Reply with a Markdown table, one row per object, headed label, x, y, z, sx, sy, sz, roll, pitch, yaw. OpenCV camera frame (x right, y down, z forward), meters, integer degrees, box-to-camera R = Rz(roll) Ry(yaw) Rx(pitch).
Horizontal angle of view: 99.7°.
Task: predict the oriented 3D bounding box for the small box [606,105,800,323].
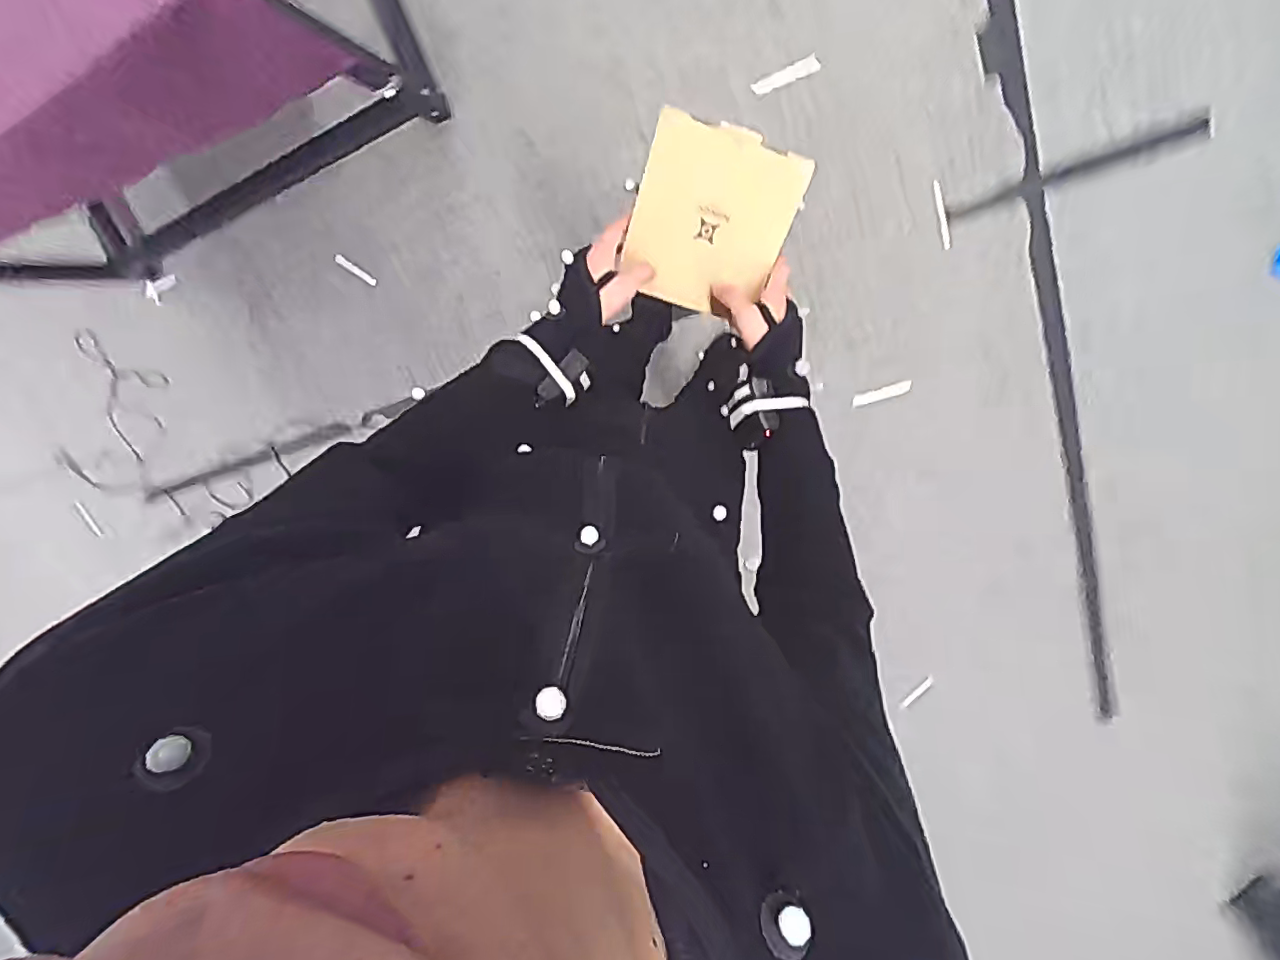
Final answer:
| label | x | y | z | sx | sy | sz | roll | pitch | yaw |
| --- | --- | --- | --- | --- | --- | --- | --- | --- | --- |
| small box | 0.066 | -0.314 | 0.643 | 0.168 | 0.176 | 0.179 | 15 | 121 | -7 |
